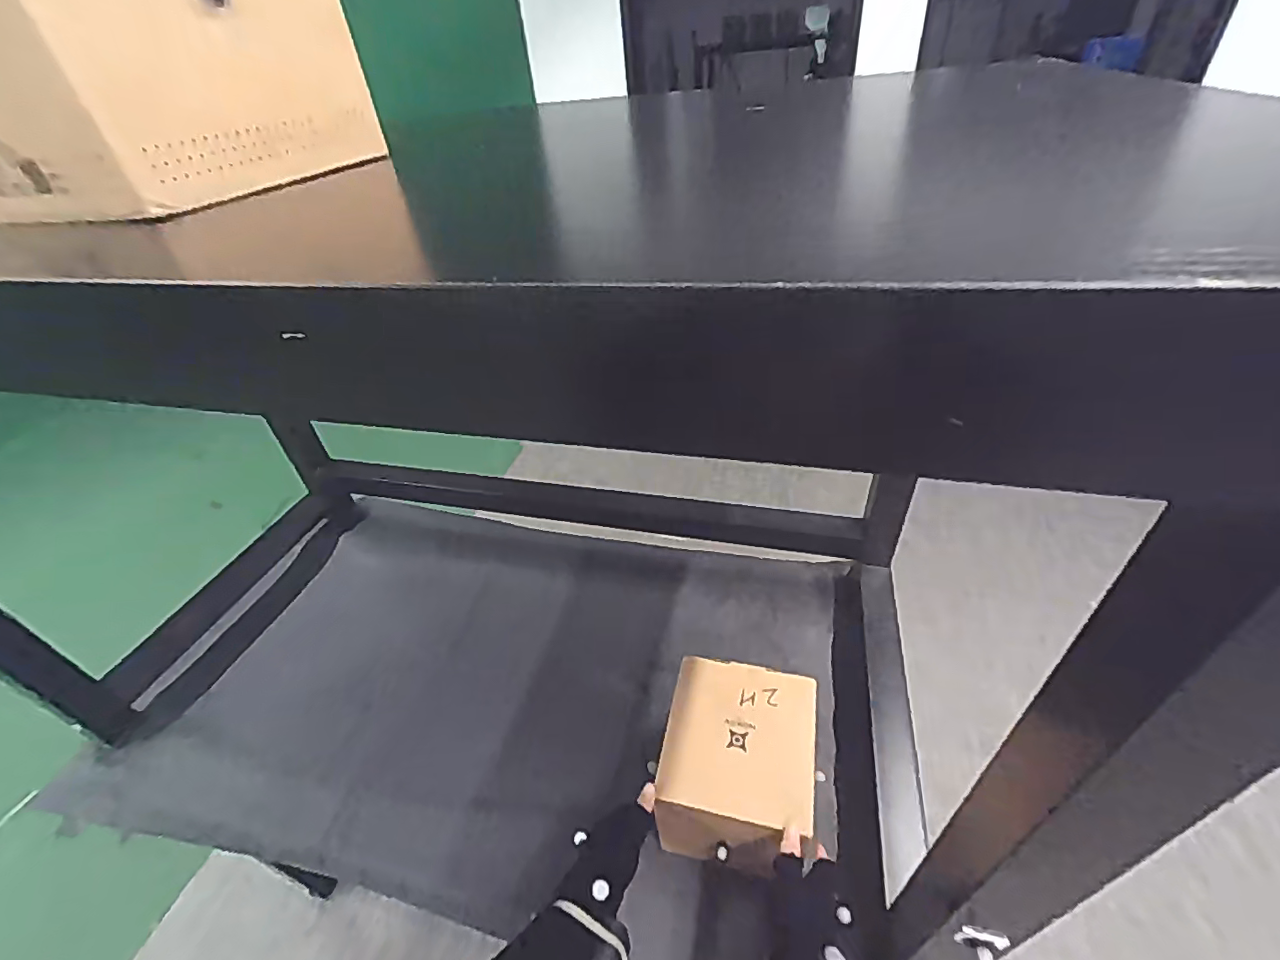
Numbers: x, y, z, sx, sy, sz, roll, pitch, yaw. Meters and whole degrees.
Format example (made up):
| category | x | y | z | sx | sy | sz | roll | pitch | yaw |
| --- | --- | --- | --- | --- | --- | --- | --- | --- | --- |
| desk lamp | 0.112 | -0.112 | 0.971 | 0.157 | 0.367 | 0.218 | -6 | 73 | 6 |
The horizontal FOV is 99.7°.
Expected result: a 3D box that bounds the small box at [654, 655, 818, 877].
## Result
| category | x | y | z | sx | sy | sz | roll | pitch | yaw |
| --- | --- | --- | --- | --- | --- | --- | --- | --- | --- |
| small box | 0.122 | 0.350 | 0.665 | 0.168 | 0.176 | 0.179 | 7 | 40 | 15 |
